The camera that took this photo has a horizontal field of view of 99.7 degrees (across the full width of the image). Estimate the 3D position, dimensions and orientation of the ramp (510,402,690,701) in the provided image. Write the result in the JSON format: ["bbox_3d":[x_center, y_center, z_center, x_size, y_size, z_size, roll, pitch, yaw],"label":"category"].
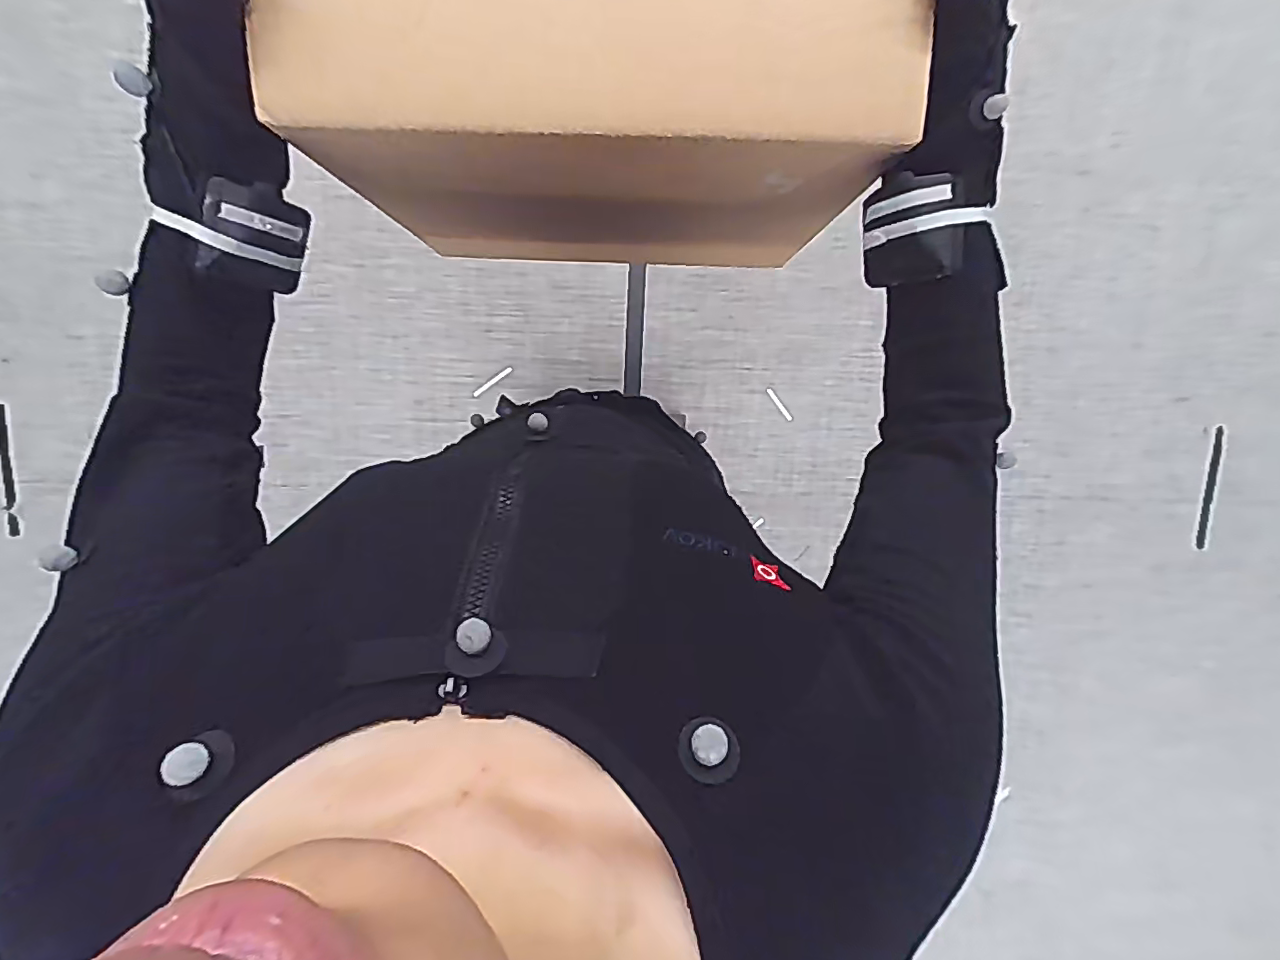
[{"bbox_3d":[-0.113,0.261,1.621,0.509,0.206,0.991,-1,100,-2],"label":"ramp"}]

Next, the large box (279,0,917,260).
[{"bbox_3d":[-0.026,-0.393,0.472,0.408,0.320,0.320,1,98,-1],"label":"large box"}]
